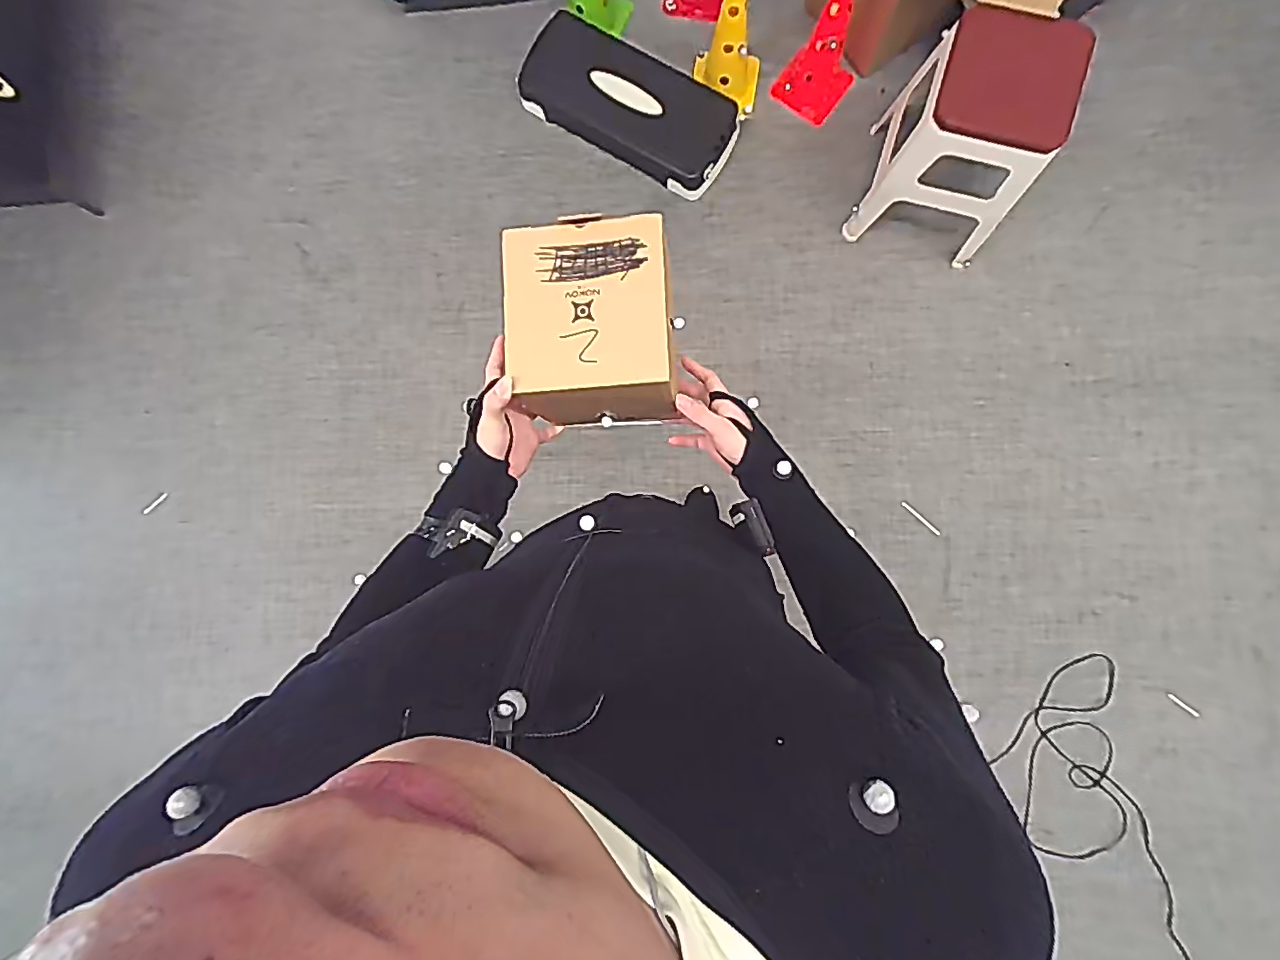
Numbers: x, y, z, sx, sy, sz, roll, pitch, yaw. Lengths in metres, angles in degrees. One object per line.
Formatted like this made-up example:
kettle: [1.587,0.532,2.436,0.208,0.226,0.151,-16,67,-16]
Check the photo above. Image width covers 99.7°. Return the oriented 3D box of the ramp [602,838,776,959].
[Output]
ramp: [0.142,1.543,1.482,0.509,0.206,0.991,-4,87,5]
